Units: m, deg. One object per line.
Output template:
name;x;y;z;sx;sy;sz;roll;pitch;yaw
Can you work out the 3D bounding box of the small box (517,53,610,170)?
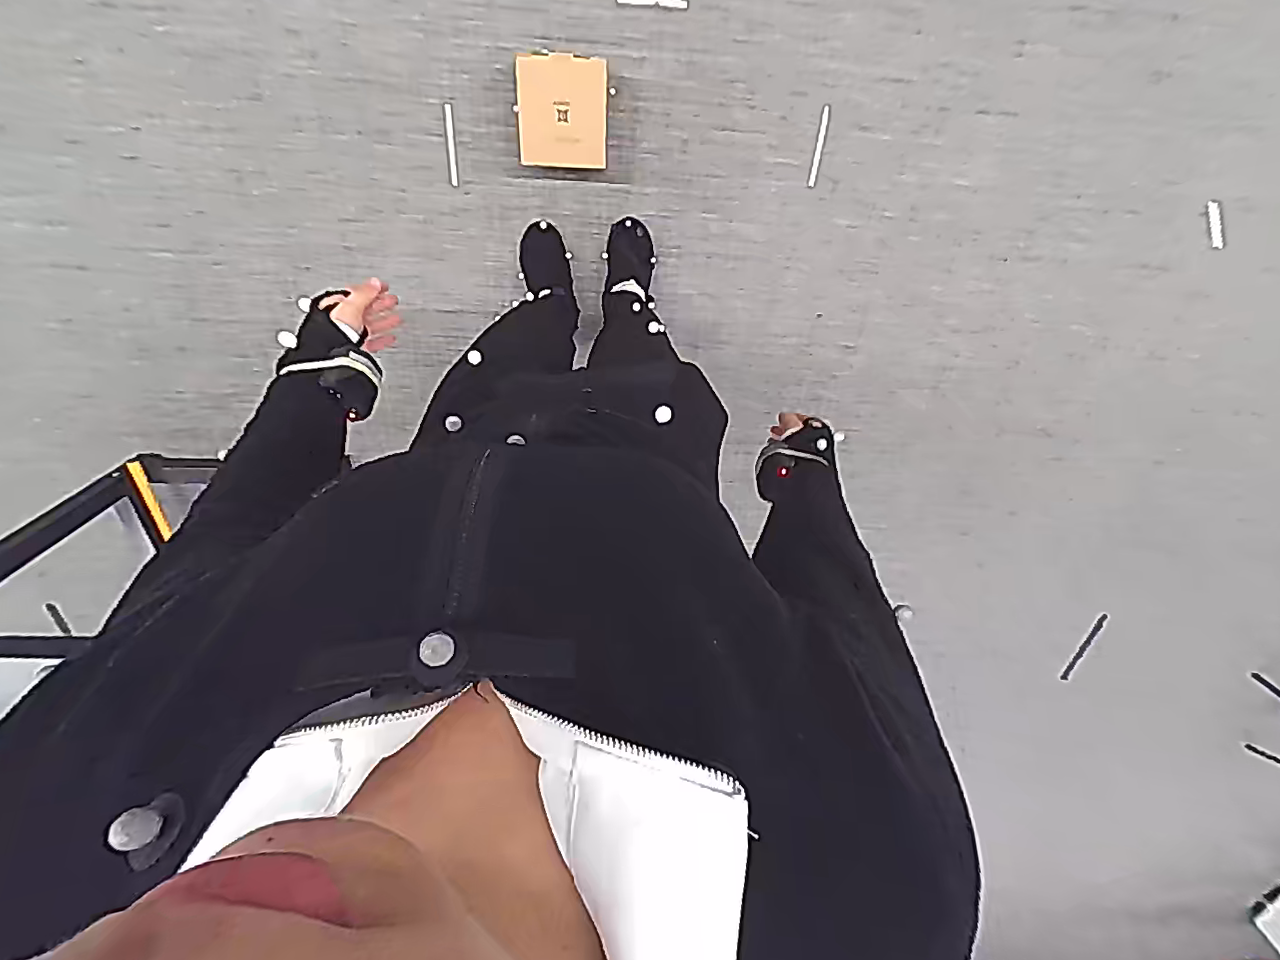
small box;-0.146;-0.722;1.073;0.168;0.176;0.179;1;122;-2
